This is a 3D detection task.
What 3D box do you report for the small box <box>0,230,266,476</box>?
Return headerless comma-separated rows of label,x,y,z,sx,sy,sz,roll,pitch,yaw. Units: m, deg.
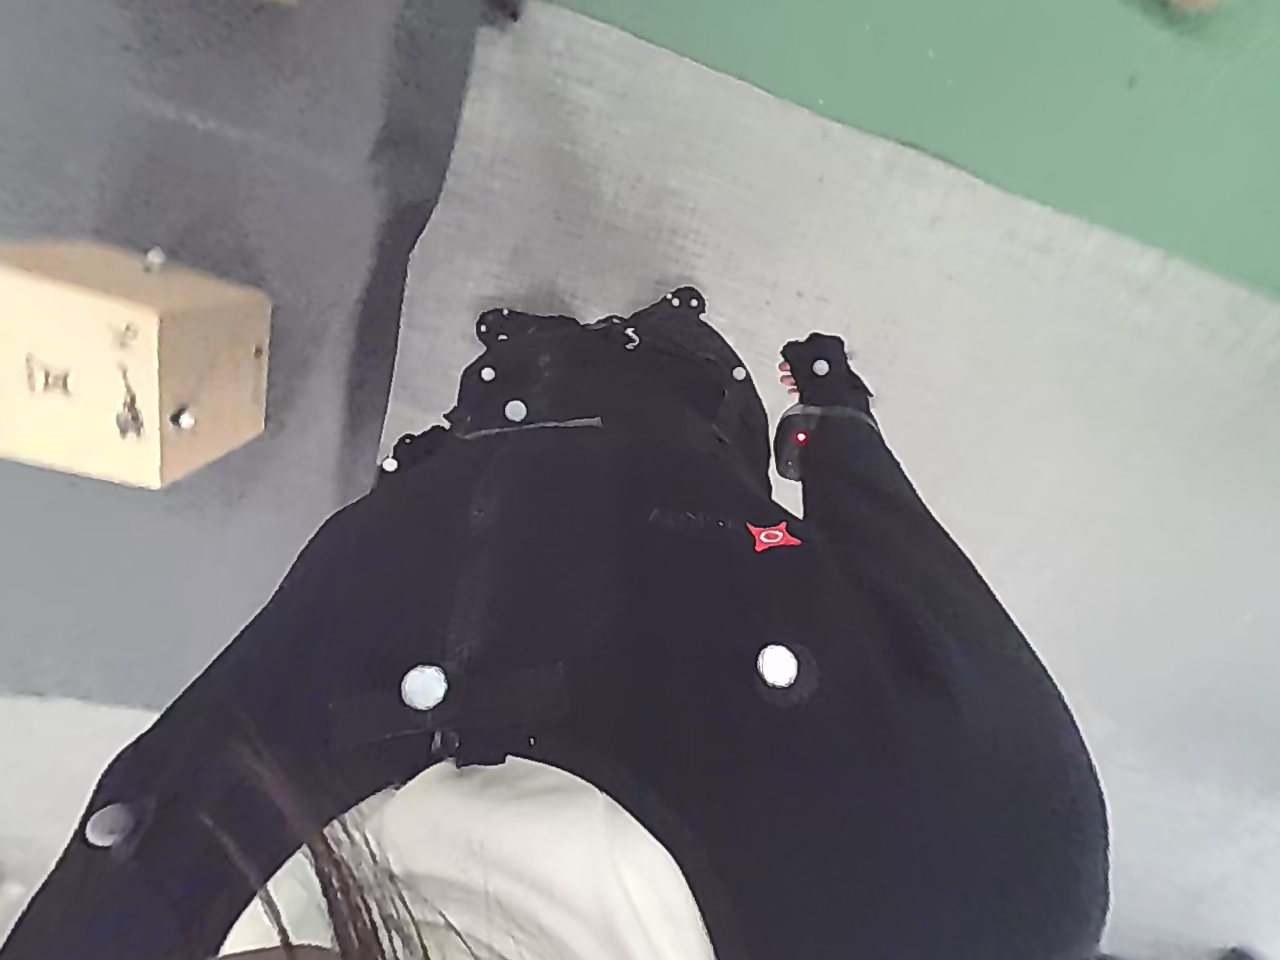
small box,-0.503,-0.128,0.518,0.179,0.176,0.168,15,113,-10
